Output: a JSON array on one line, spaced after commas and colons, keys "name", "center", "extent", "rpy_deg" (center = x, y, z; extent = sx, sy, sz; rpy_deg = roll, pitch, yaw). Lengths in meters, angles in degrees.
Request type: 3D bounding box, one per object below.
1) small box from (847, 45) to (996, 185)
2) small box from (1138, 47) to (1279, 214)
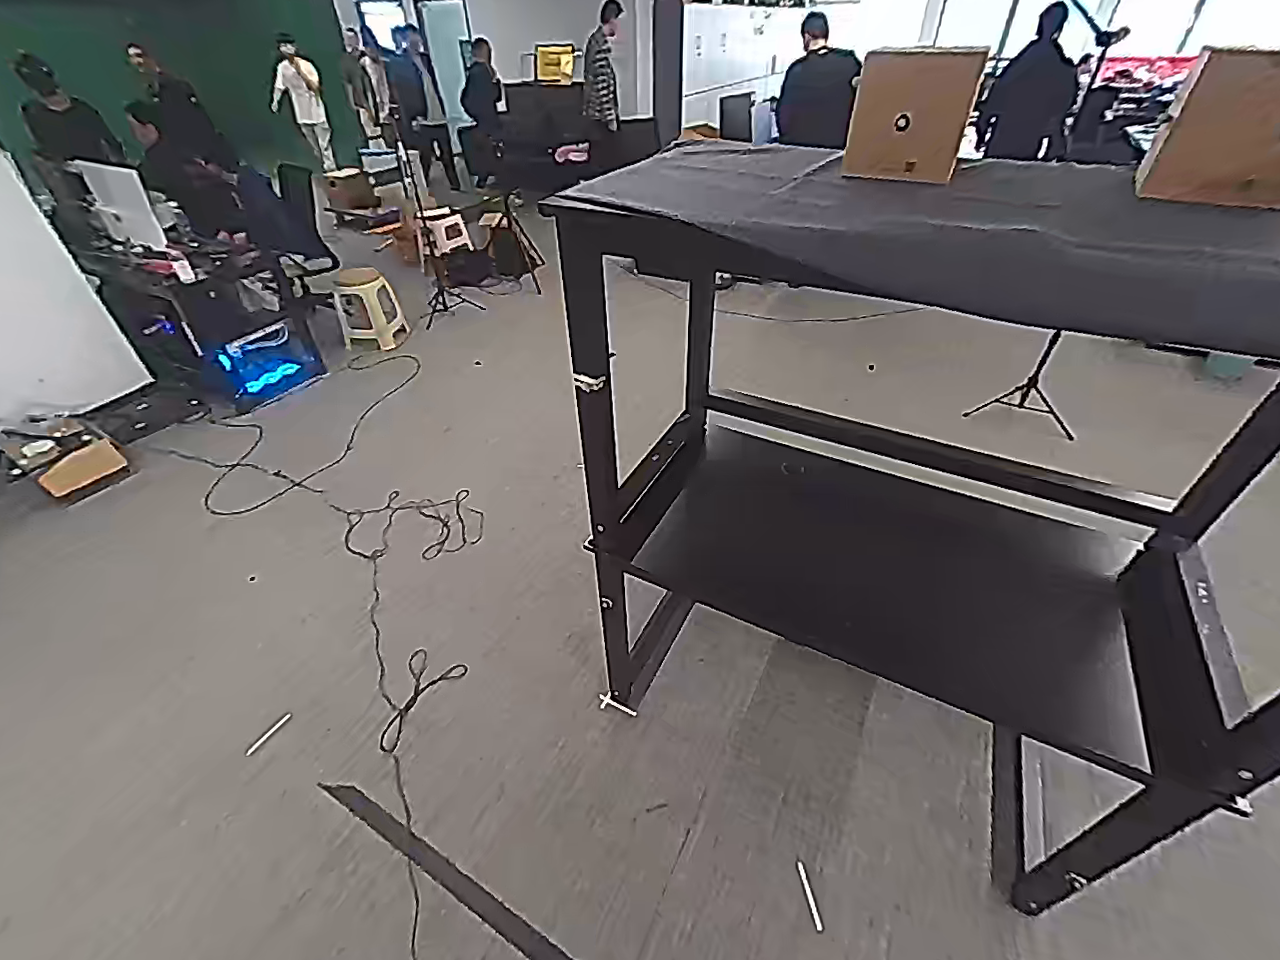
[{"name": "small box", "center": [0.448, -0.590, 0.873], "extent": [0.168, 0.176, 0.179], "rpy_deg": [19, 44, 21]}, {"name": "small box", "center": [0.815, -0.472, 0.726], "extent": [0.168, 0.176, 0.179], "rpy_deg": [24, 45, 25]}]
